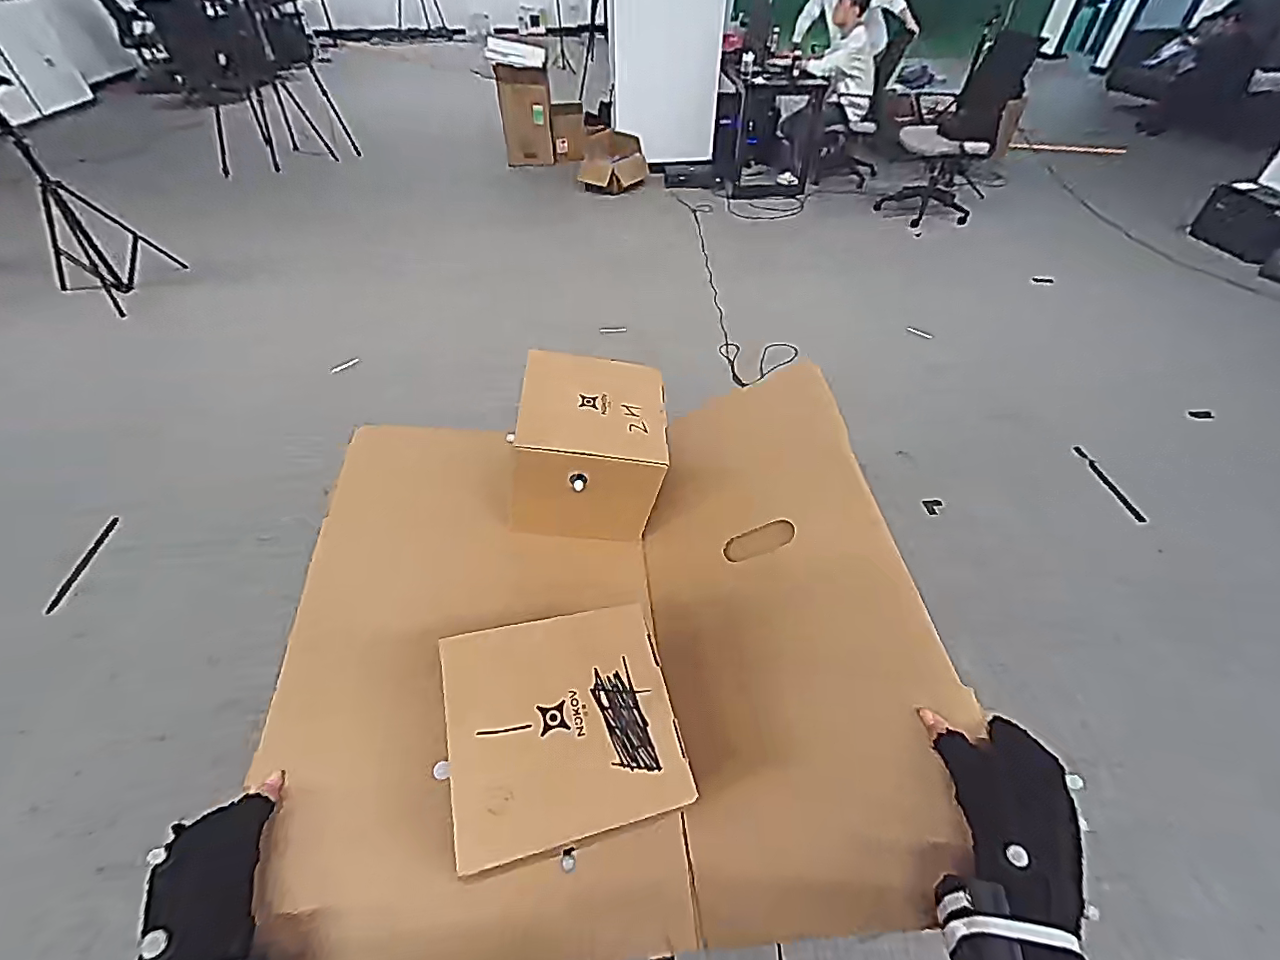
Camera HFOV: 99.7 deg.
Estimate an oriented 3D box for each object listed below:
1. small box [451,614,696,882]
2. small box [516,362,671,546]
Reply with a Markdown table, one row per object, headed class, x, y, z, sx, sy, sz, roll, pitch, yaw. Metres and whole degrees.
| class | x | y | z | sx | sy | sz | roll | pitch | yaw |
| --- | --- | --- | --- | --- | --- | --- | --- | --- | --- |
| small box | -0.073 | 0.242 | 0.492 | 0.179 | 0.176 | 0.168 | -5 | 54 | -18 |
| small box | -0.064 | -0.028 | 0.714 | 0.179 | 0.176 | 0.168 | 8 | 51 | -10 |
